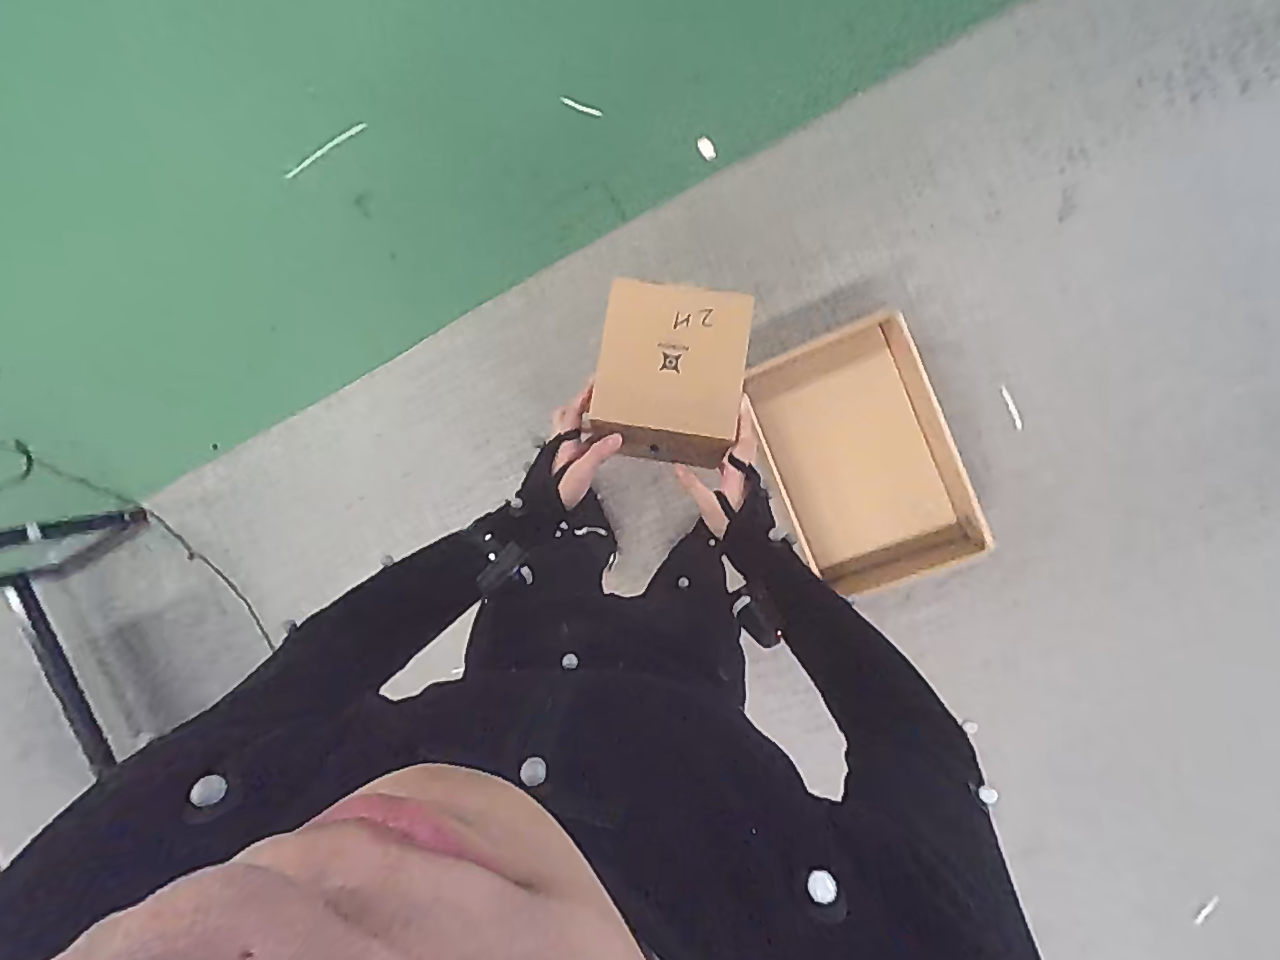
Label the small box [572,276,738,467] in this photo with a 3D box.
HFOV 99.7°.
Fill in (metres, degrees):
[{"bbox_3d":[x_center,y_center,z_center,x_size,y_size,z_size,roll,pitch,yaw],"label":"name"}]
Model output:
[{"bbox_3d":[0.018,-0.122,0.675,0.168,0.176,0.179,8,79,1],"label":"small box"}]
